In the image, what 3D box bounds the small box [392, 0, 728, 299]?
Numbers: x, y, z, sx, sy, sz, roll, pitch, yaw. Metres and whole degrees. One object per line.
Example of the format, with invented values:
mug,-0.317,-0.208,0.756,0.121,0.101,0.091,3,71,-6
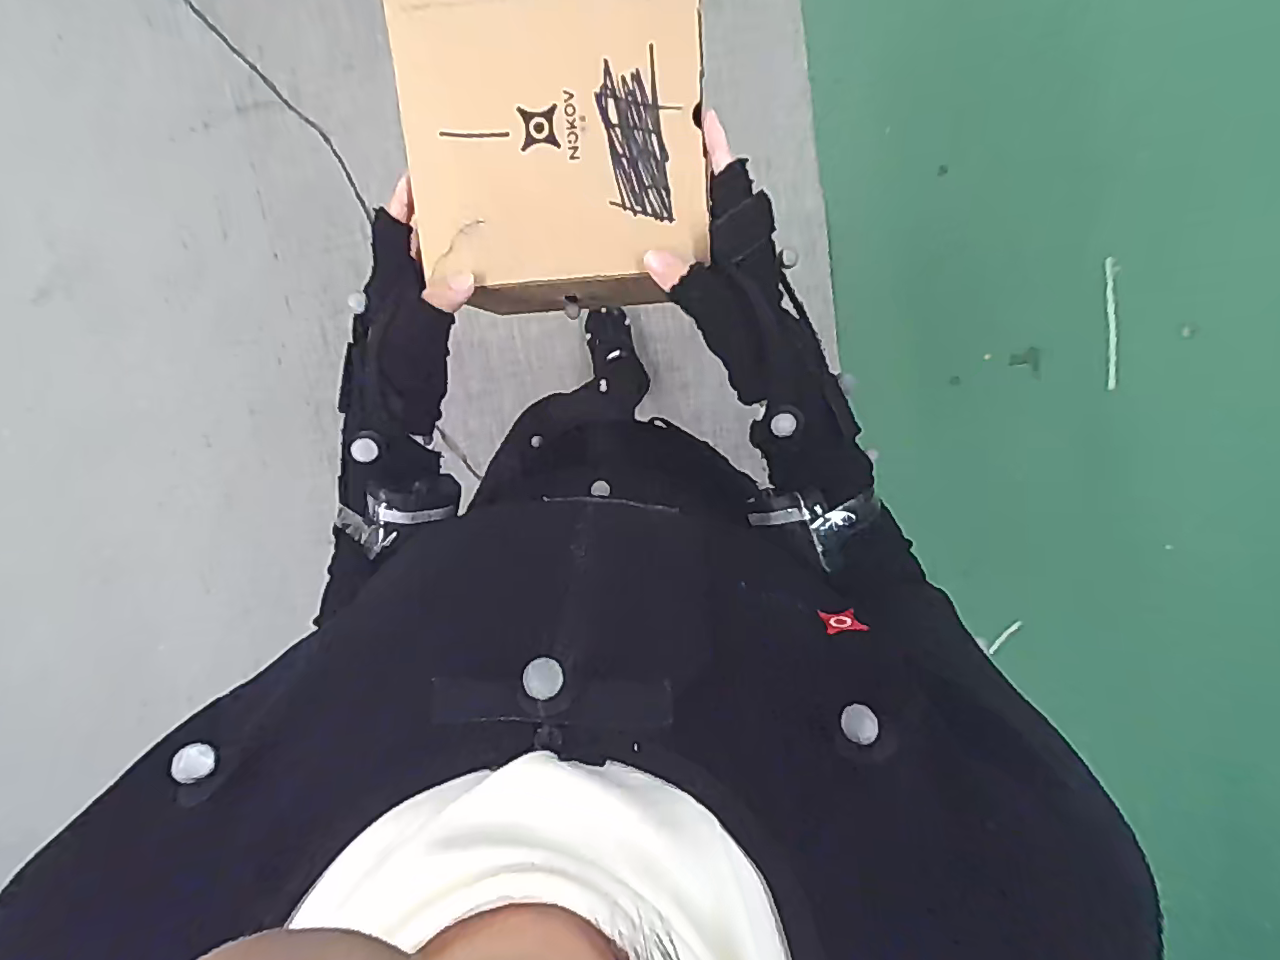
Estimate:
small box,-0.044,-0.231,0.387,0.179,0.176,0.168,-8,102,1
